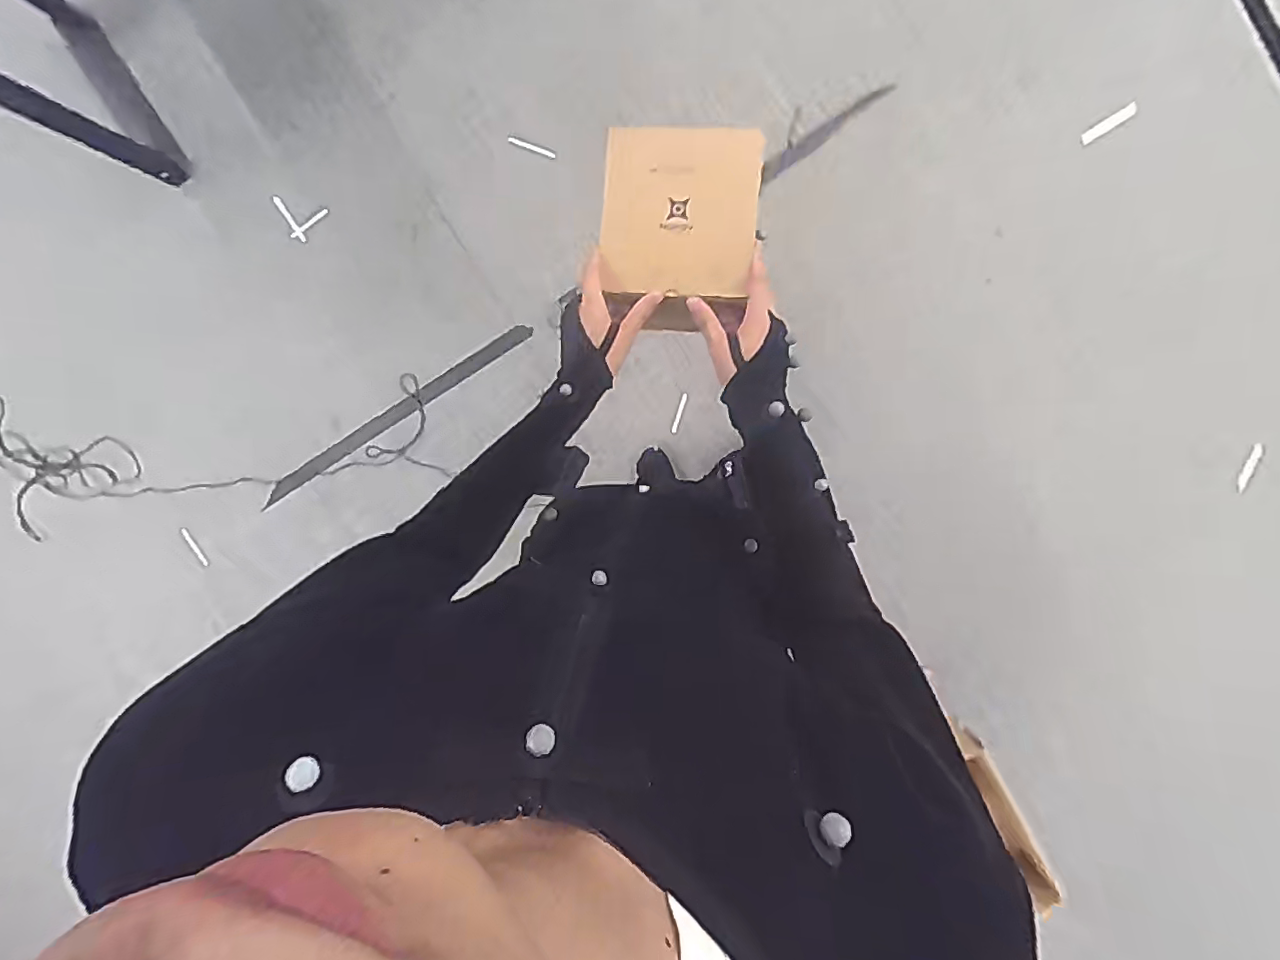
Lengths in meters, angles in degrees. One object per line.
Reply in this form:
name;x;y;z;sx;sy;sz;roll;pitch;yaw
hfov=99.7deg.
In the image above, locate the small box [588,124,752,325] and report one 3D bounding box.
small box;0.040;-0.289;0.648;0.168;0.176;0.179;4;95;7
